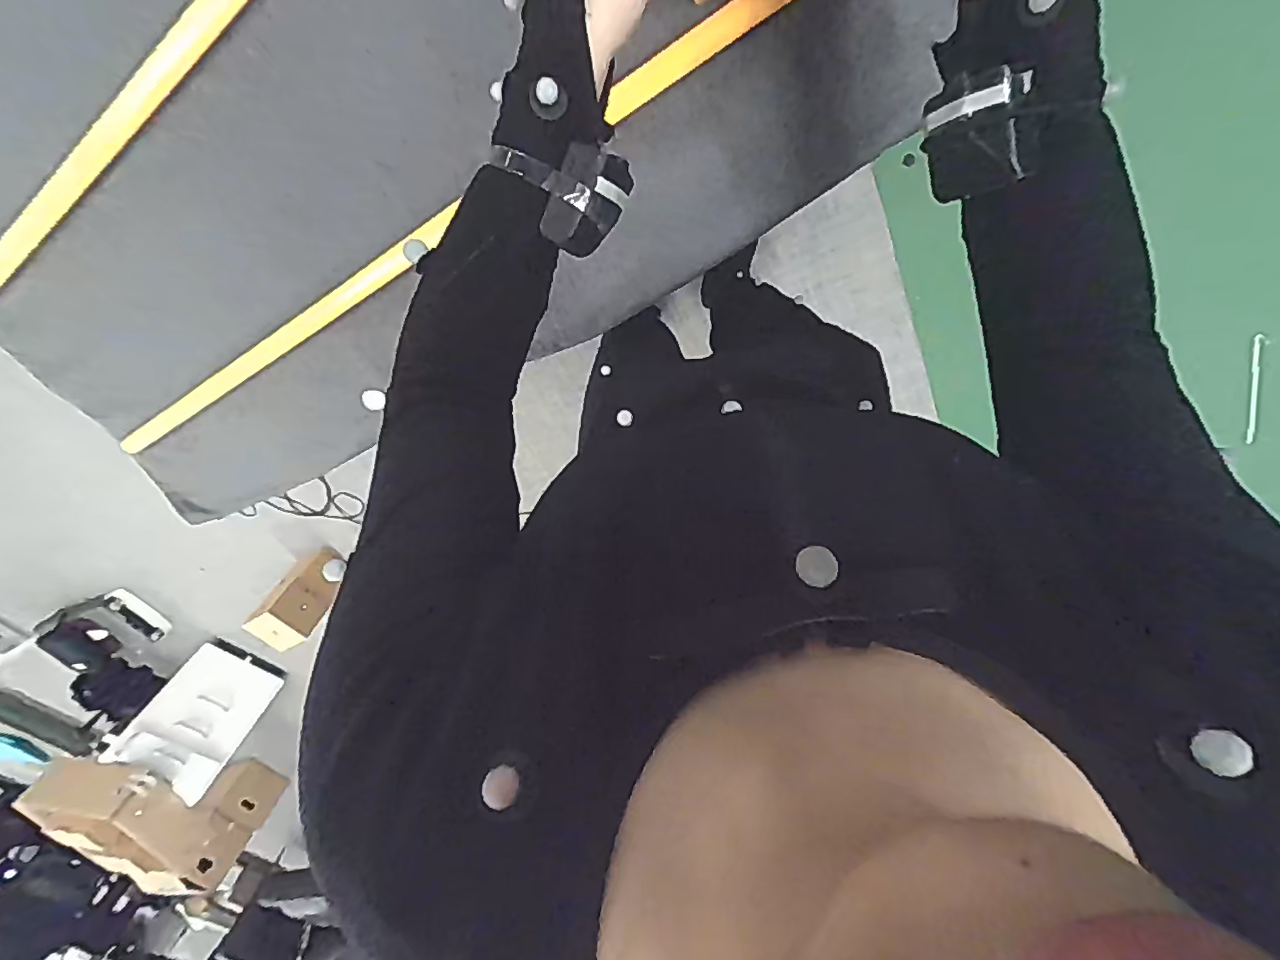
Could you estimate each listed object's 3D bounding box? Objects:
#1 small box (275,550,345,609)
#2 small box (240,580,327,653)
[{"bbox_3d":[-1.259,0.396,2.085,0.179,0.176,0.168,-24,120,24],"label":"small box"},{"bbox_3d":[-1.274,0.489,1.949,0.179,0.176,0.168,-25,120,25],"label":"small box"}]
